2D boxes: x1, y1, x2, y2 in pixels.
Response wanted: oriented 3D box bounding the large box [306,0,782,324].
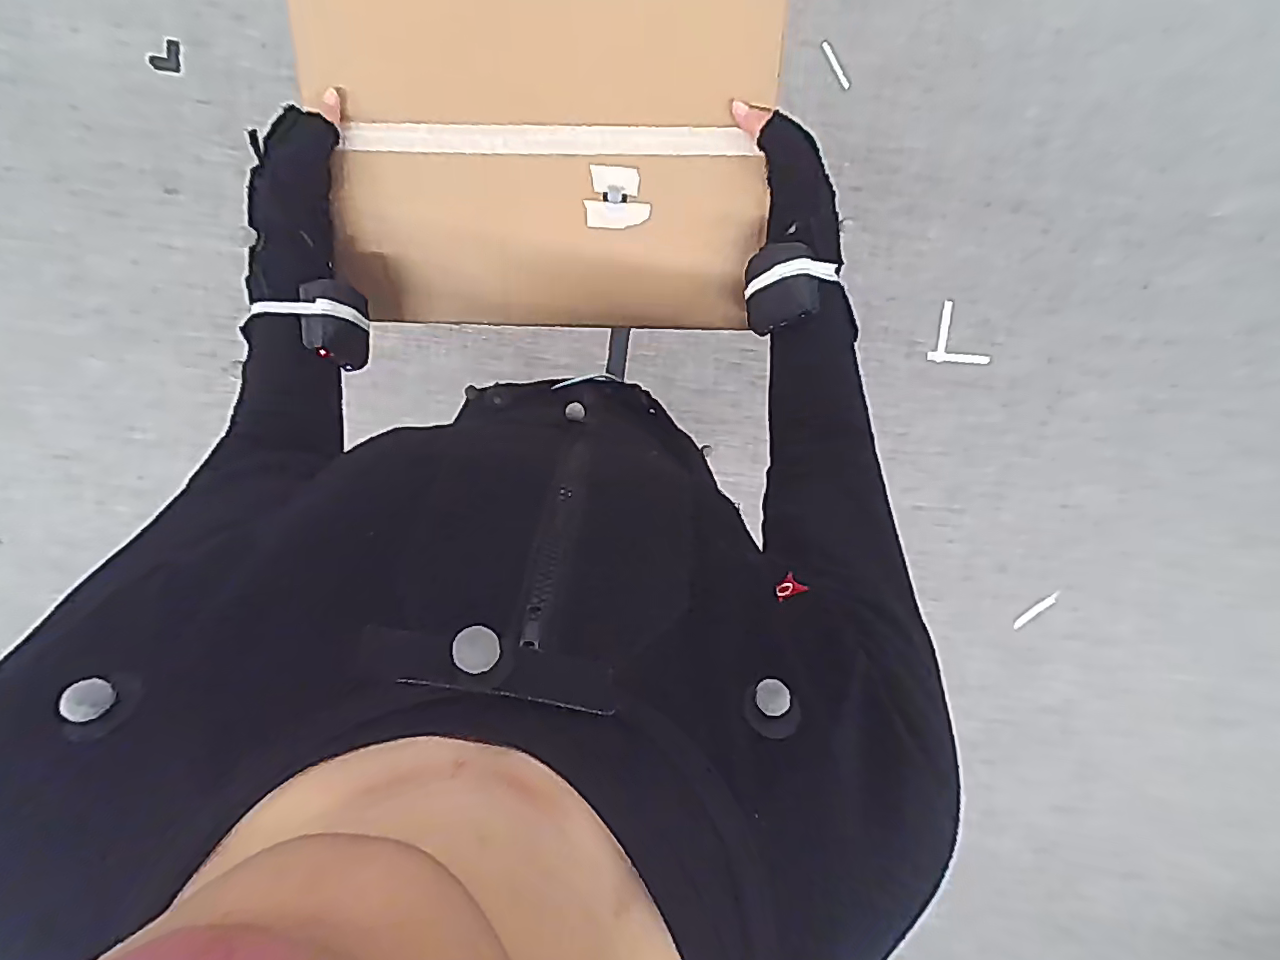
[{"bbox_3d":[-0.082,-0.355,0.623,0.408,0.320,0.320,1,112,0],"label":"large box"}]
